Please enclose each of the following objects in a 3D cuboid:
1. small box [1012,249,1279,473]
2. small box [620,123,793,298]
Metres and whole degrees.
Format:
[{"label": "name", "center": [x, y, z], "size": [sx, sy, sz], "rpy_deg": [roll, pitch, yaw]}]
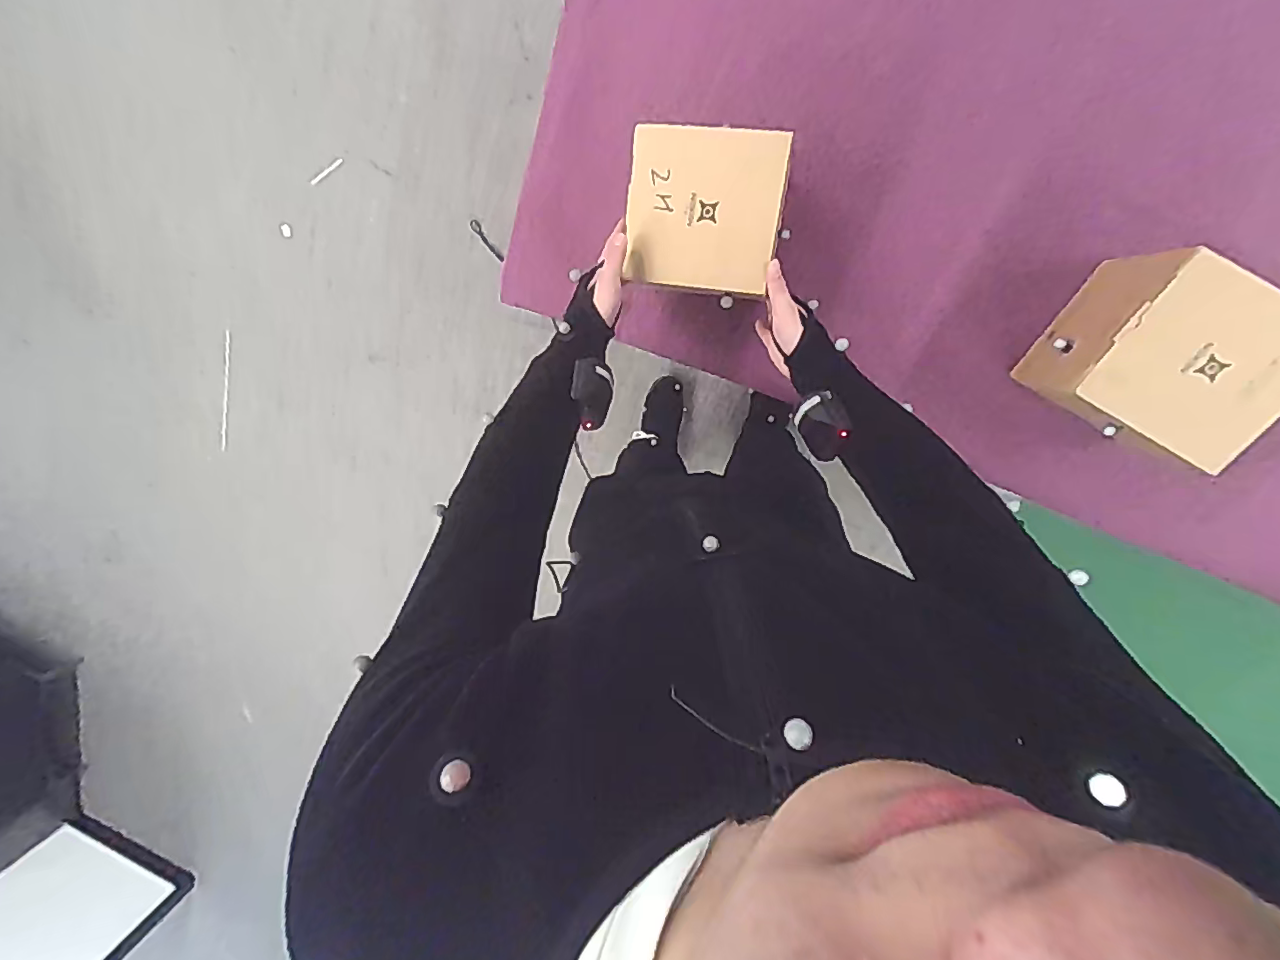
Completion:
[{"label": "small box", "center": [0.585, -0.138, 0.623], "size": [0.179, 0.176, 0.168], "rpy_deg": [33, 112, 1]}, {"label": "small box", "center": [0.086, -0.324, 0.680], "size": [0.179, 0.176, 0.168], "rpy_deg": [10, 108, 10]}]
